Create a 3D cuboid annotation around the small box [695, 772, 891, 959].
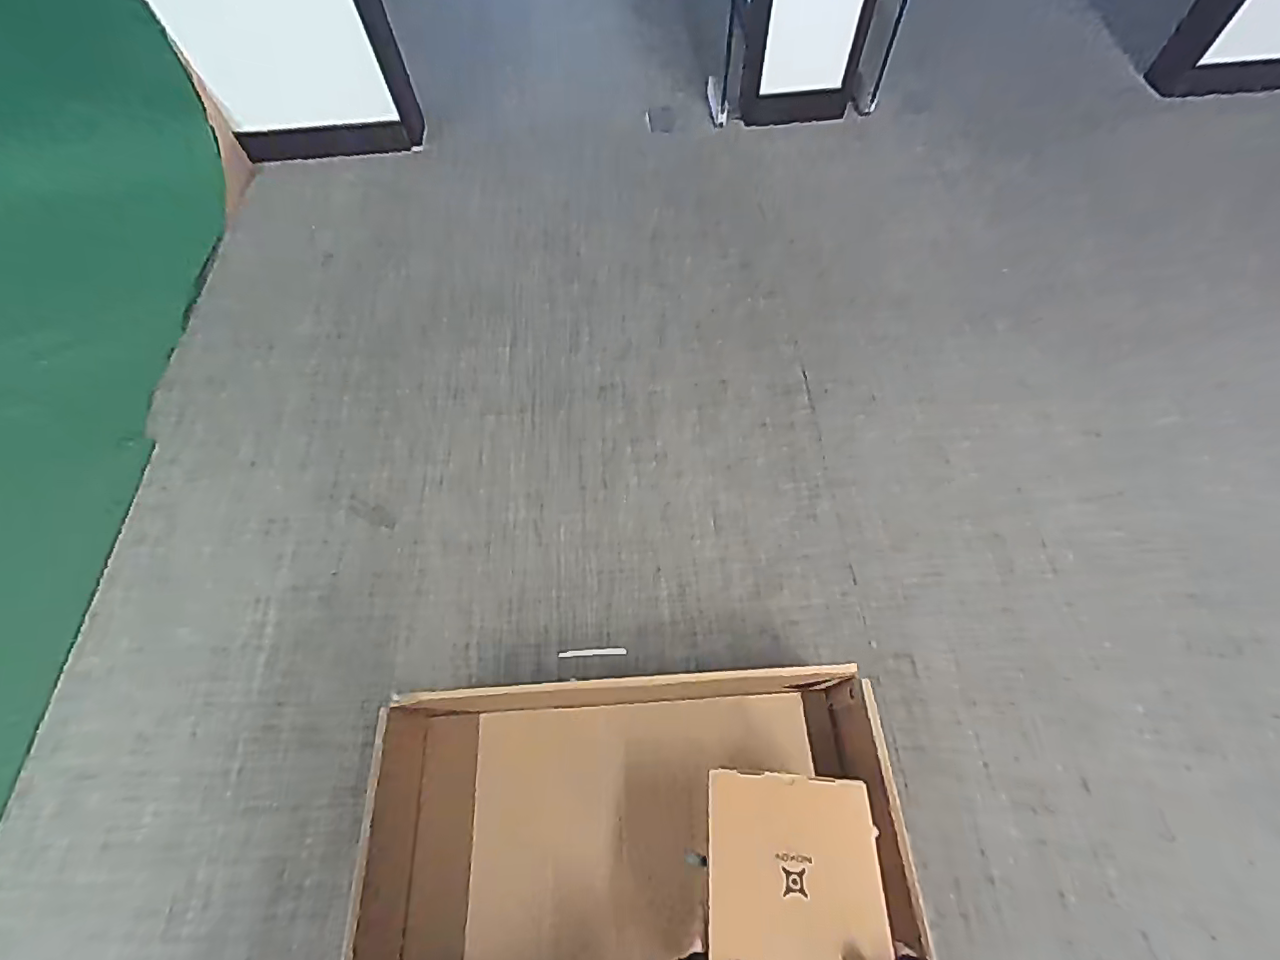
[{"bbox_3d":[0.148,0.435,0.579,0.168,0.176,0.179,3,49,3],"label":"small box"}]
